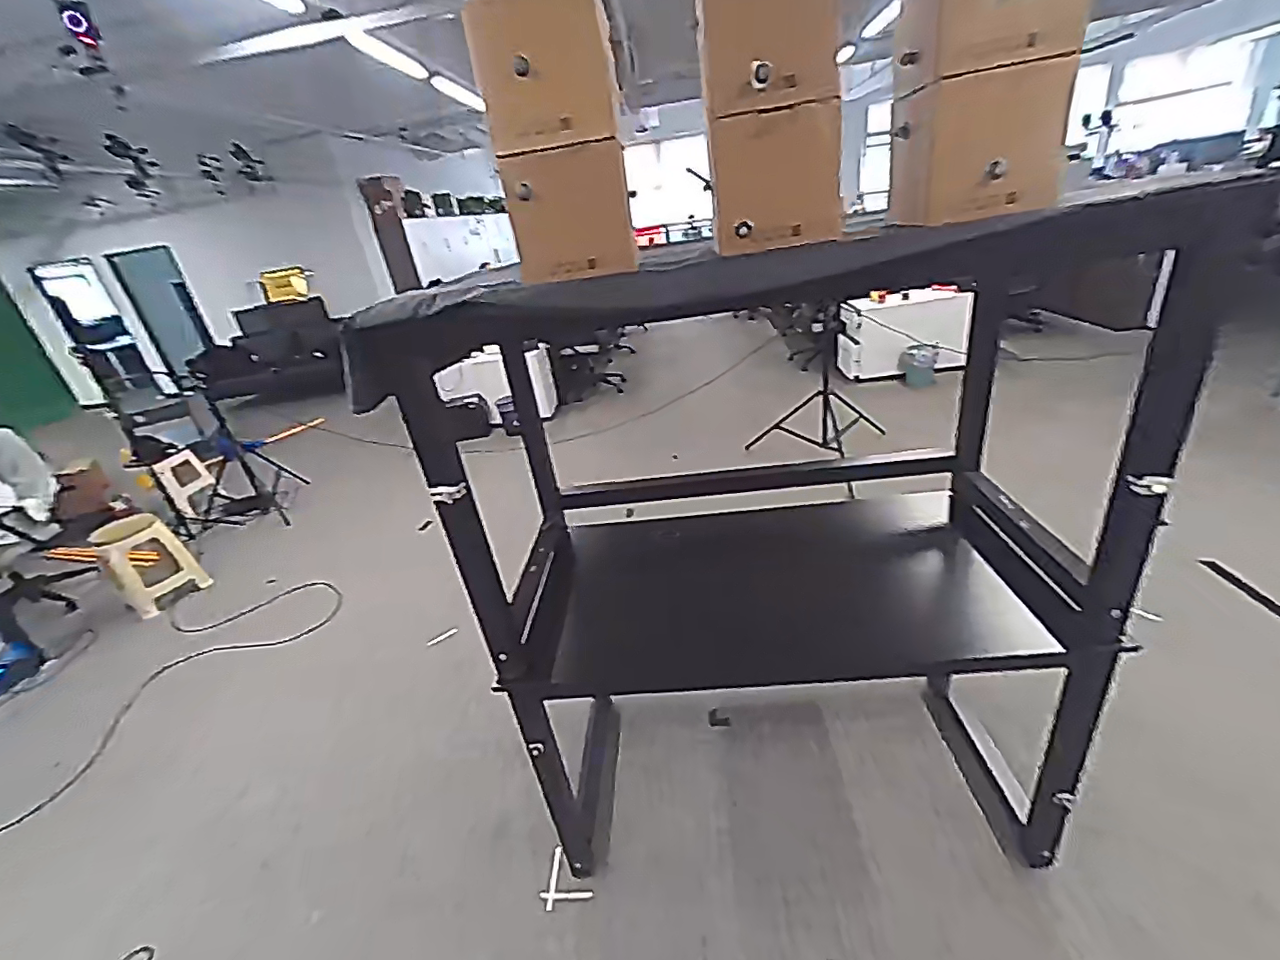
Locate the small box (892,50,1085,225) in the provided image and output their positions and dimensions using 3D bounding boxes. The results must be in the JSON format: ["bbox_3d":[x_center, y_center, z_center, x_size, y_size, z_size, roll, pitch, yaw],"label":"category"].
[{"bbox_3d":[0.463,-0.459,0.754,0.168,0.176,0.179,-7,25,9],"label":"small box"}]

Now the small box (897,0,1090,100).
[{"bbox_3d":[0.440,-0.605,0.684,0.168,0.176,0.179,-5,26,9],"label":"small box"}]

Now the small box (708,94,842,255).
[{"bbox_3d":[0.192,-0.429,0.788,0.168,0.176,0.179,-6,24,7],"label":"small box"}]

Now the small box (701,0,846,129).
[{"bbox_3d":[0.170,-0.576,0.721,0.168,0.176,0.179,-6,25,8],"label":"small box"}]

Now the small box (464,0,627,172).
[{"bbox_3d":[-0.115,-0.542,0.749,0.168,0.176,0.179,-6,24,7],"label":"small box"}]
